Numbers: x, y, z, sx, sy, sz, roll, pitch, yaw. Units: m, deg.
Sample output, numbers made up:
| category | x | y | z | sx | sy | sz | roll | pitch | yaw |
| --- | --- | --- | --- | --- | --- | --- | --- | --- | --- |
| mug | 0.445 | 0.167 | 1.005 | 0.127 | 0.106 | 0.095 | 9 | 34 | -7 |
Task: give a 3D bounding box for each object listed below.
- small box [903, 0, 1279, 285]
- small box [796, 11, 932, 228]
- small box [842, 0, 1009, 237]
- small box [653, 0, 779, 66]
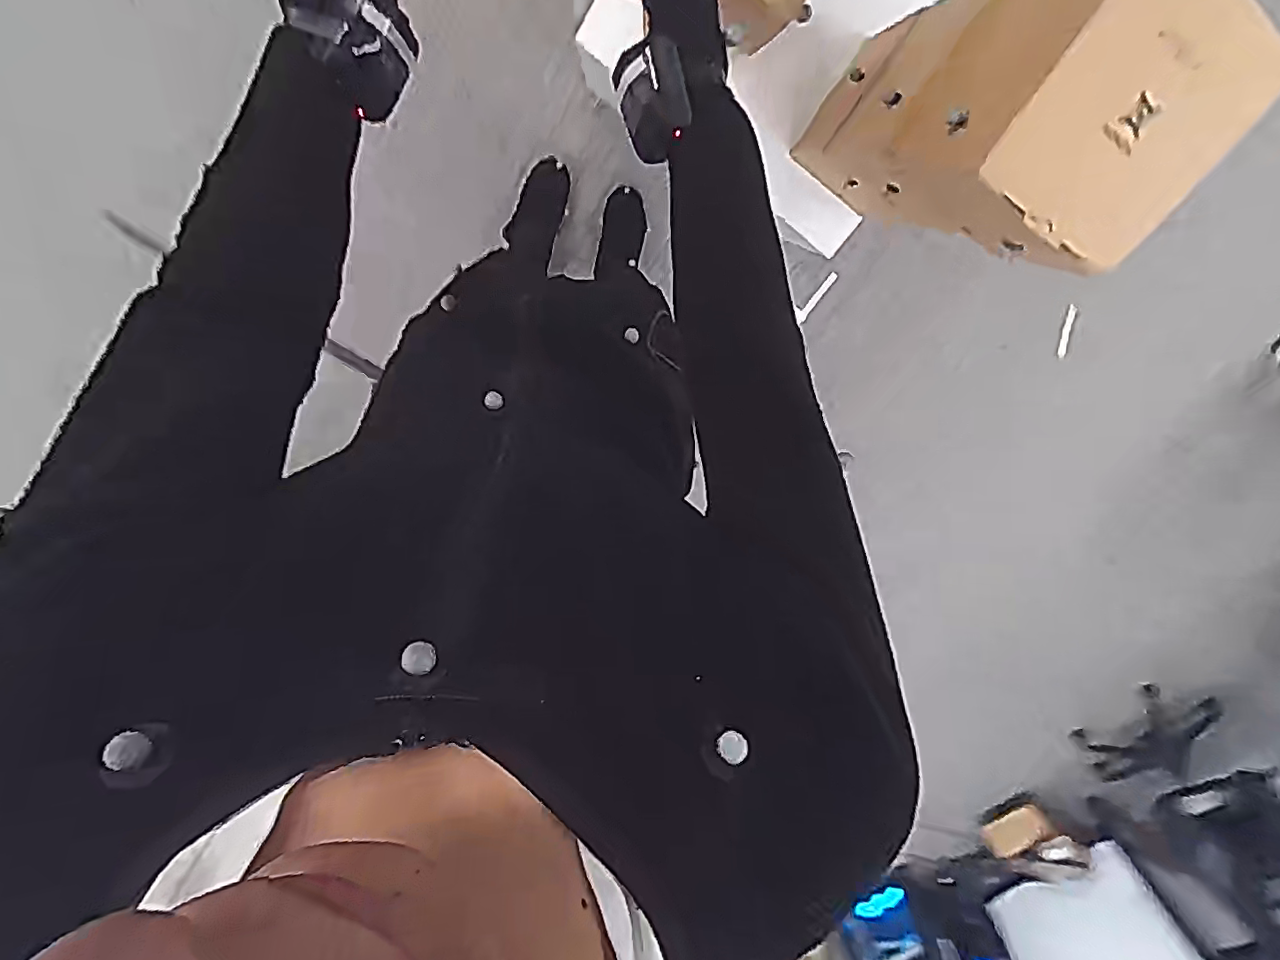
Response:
| category | x | y | z | sx | sy | sz | roll | pitch | yaw |
| --- | --- | --- | --- | --- | --- | --- | --- | --- | --- |
| small box | 0.368 | -0.306 | 0.479 | 0.168 | 0.176 | 0.179 | 25 | 115 | -17 |
| small box | 0.348 | -0.485 | 0.753 | 0.168 | 0.176 | 0.179 | 30 | 114 | -17 |
| small box | 0.356 | -0.403 | 0.610 | 0.168 | 0.176 | 0.179 | 30 | 114 | -18 |
| small box | 0.106 | -0.645 | 0.648 | 0.168 | 0.176 | 0.179 | 32 | 113 | -20 |
